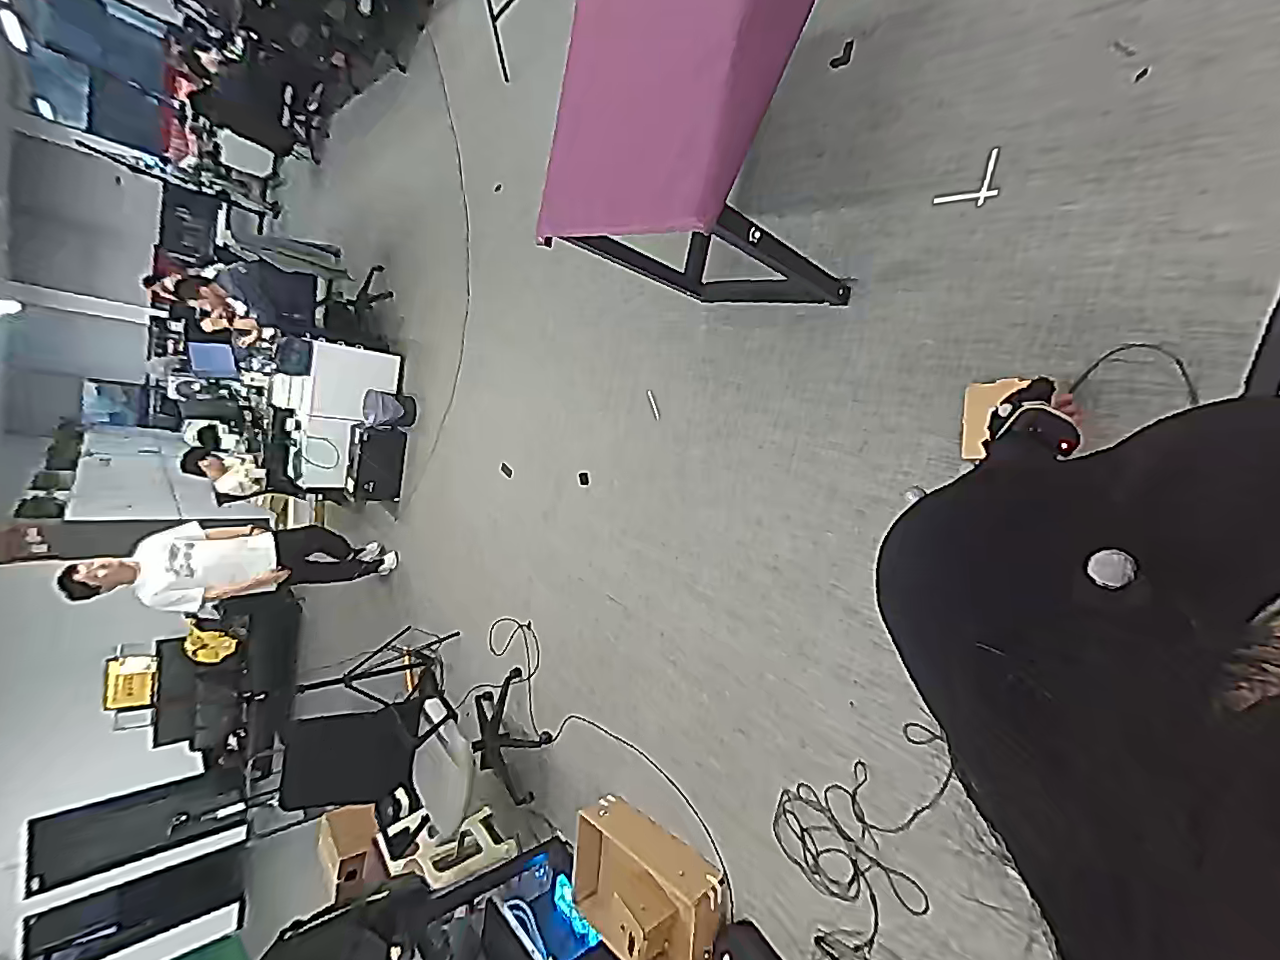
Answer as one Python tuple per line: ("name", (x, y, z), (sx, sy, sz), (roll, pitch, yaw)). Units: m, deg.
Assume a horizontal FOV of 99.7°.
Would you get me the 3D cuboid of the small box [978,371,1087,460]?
("small box", (0.891, -0.139, 1.226), (0.168, 0.176, 0.179), (2, 90, 50))
